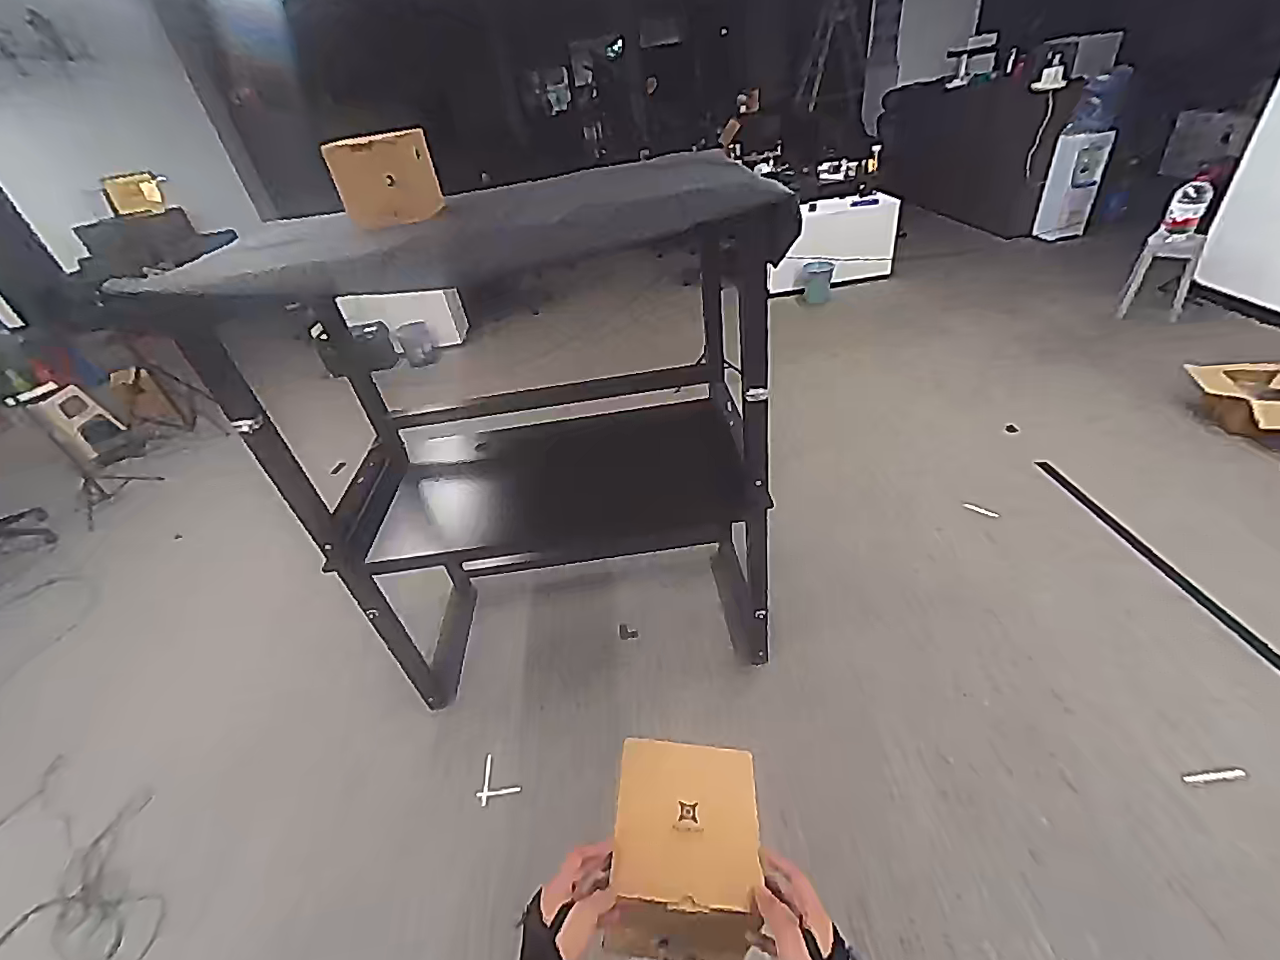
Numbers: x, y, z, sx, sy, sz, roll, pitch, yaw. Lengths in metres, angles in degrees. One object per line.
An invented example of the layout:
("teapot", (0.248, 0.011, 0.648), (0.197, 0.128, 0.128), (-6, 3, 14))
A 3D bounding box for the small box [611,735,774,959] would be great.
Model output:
("small box", (0.055, 0.449, 0.666), (0.168, 0.176, 0.179), (5, 36, 0))

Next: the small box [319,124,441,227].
("small box", (-0.565, -0.674, 1.207), (0.168, 0.176, 0.179), (-6, 38, 3))
